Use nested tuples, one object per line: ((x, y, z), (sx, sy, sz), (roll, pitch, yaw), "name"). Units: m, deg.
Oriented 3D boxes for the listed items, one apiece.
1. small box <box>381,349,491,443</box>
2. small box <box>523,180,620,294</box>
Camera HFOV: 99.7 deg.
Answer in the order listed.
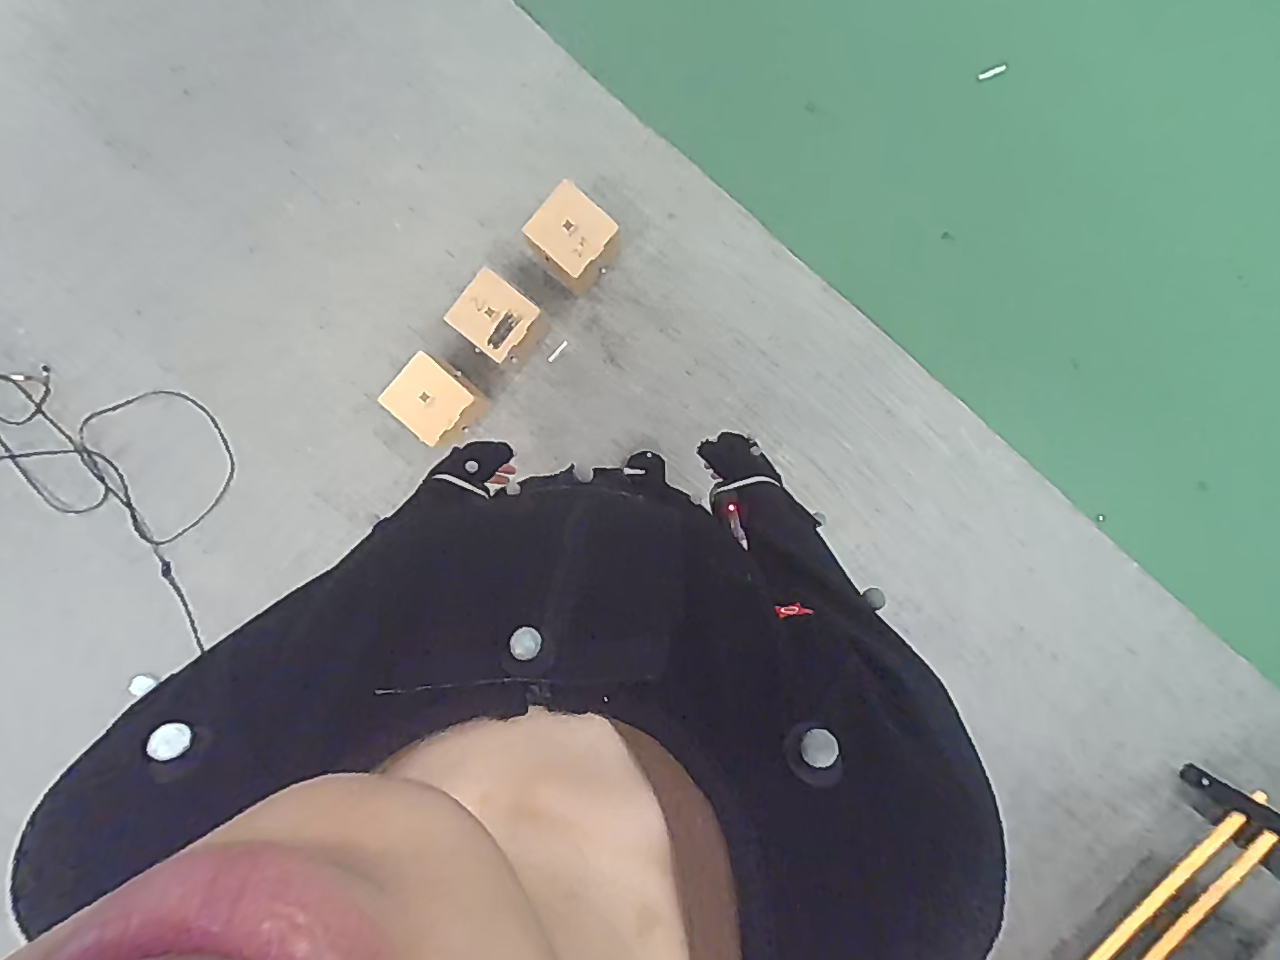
((-0.515, -0.206, 1.391), (0.179, 0.176, 0.168), (42, 93, -3), "small box")
((-0.167, -0.604, 1.372), (0.179, 0.176, 0.168), (42, 92, -3), "small box")
